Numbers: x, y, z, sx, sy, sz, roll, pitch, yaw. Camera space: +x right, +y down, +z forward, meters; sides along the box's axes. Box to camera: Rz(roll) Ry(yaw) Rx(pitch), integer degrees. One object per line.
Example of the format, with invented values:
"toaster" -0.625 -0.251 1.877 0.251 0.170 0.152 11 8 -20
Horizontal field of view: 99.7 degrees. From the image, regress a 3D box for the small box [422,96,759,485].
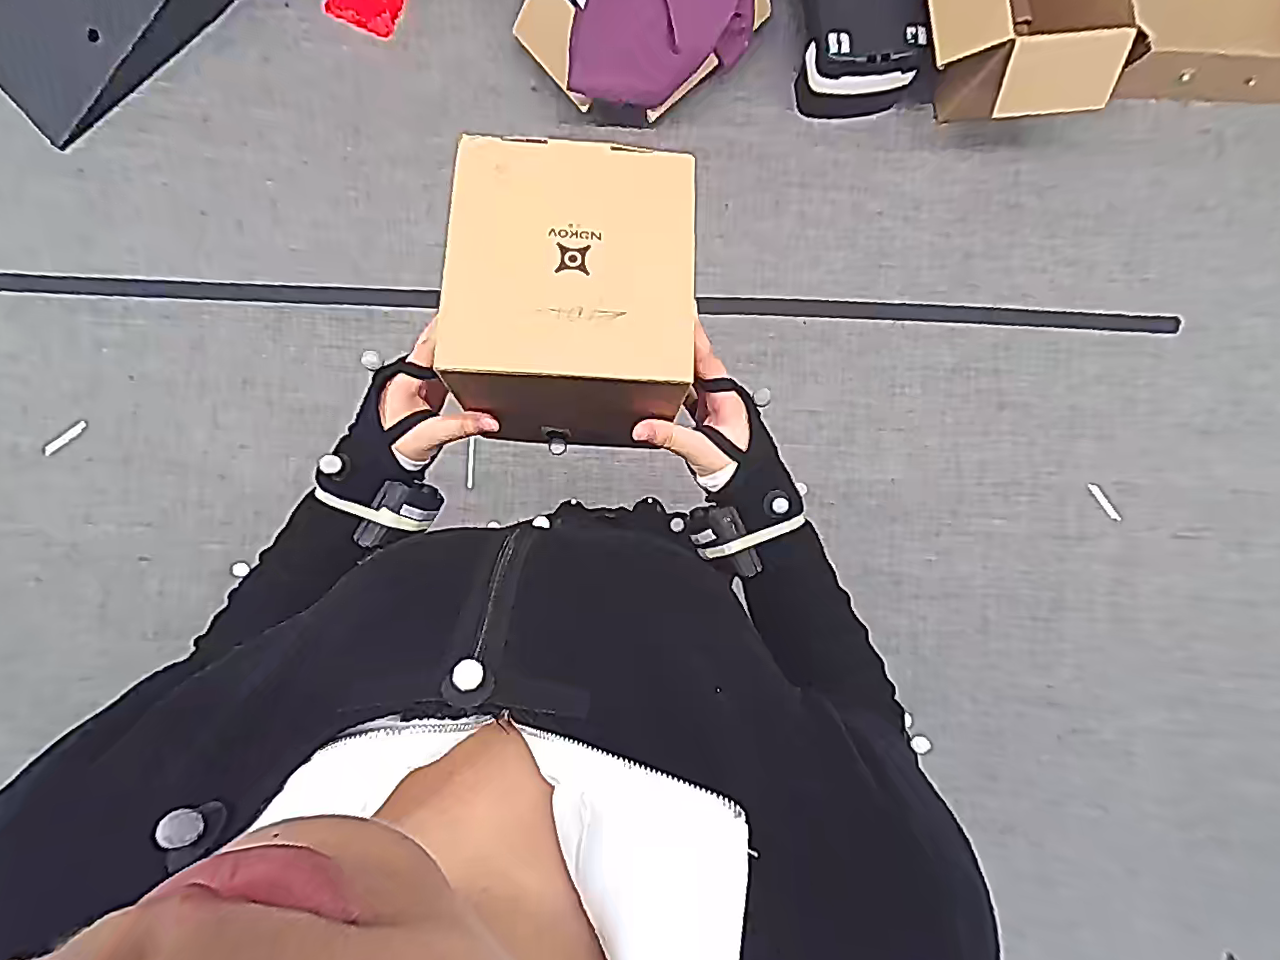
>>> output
"small box" -0.028 -0.101 0.356 0.168 0.176 0.179 2 79 -5
